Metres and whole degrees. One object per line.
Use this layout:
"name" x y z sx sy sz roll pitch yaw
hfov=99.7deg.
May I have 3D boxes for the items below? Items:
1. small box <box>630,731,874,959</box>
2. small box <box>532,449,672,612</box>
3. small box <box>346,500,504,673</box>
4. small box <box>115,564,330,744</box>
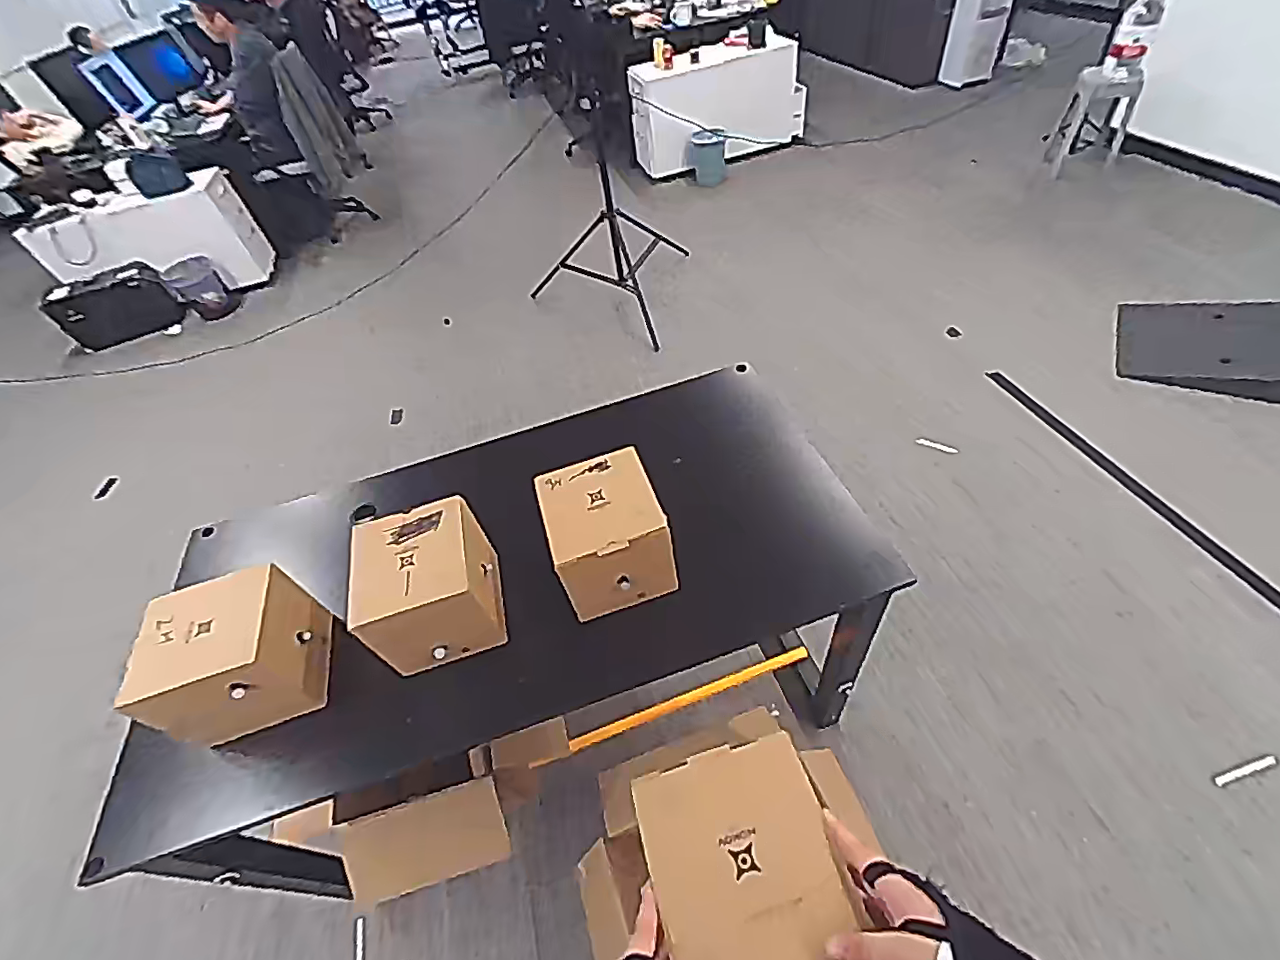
"small box" 0.096 0.386 0.536 0.168 0.176 0.179 -16 47 -6
"small box" -0.056 0.088 0.851 0.168 0.176 0.179 -18 49 -5
"small box" -0.320 0.164 0.829 0.168 0.176 0.179 -18 49 -5
"small box" -0.587 0.257 0.793 0.179 0.176 0.168 -18 48 -7
